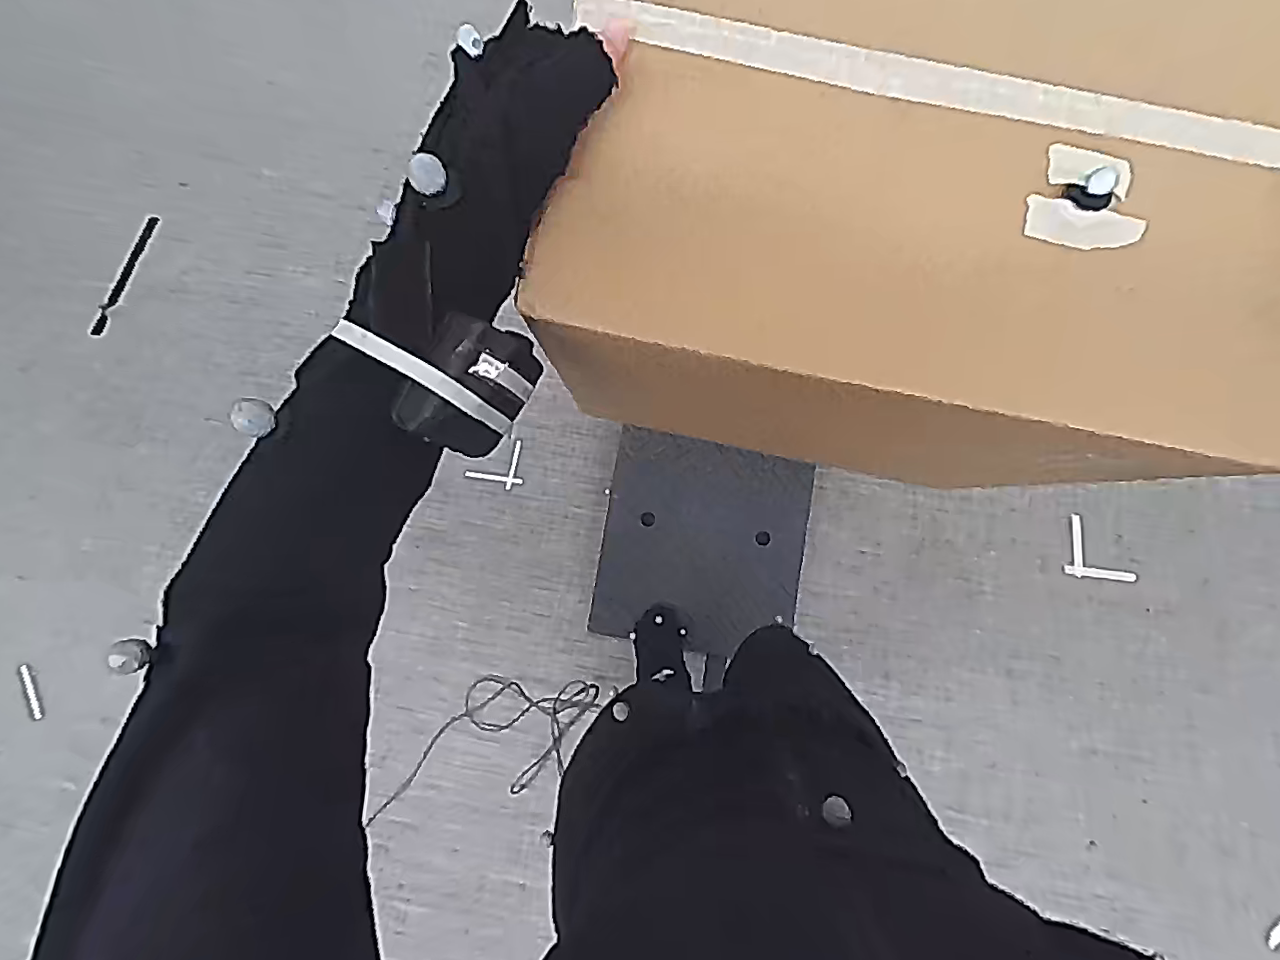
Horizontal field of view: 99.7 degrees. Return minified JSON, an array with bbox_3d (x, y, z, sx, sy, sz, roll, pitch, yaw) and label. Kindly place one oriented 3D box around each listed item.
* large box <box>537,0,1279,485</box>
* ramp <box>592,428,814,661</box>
[{"bbox_3d":[0.159,-0.185,0.449,0.408,0.320,0.320,11,88,-1],"label":"large box"},{"bbox_3d":[0.195,-0.083,1.356,0.509,0.206,0.991,7,76,1],"label":"ramp"}]
